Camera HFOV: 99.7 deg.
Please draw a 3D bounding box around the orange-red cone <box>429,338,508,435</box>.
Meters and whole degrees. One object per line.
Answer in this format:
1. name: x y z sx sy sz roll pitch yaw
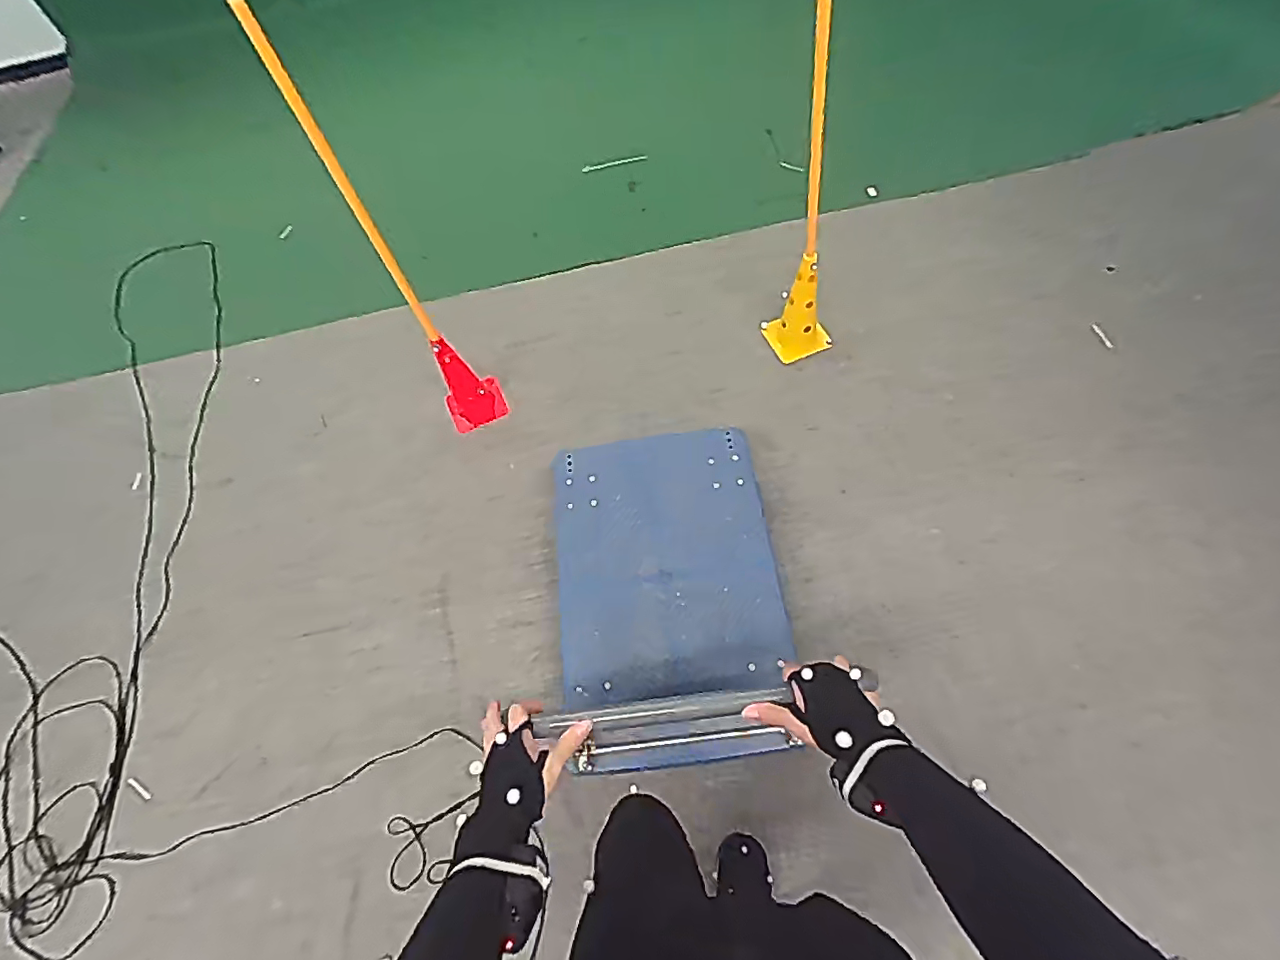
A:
1. orange-red cone: -0.614 -0.345 1.827 0.199 0.360 0.198 -26 61 -5
